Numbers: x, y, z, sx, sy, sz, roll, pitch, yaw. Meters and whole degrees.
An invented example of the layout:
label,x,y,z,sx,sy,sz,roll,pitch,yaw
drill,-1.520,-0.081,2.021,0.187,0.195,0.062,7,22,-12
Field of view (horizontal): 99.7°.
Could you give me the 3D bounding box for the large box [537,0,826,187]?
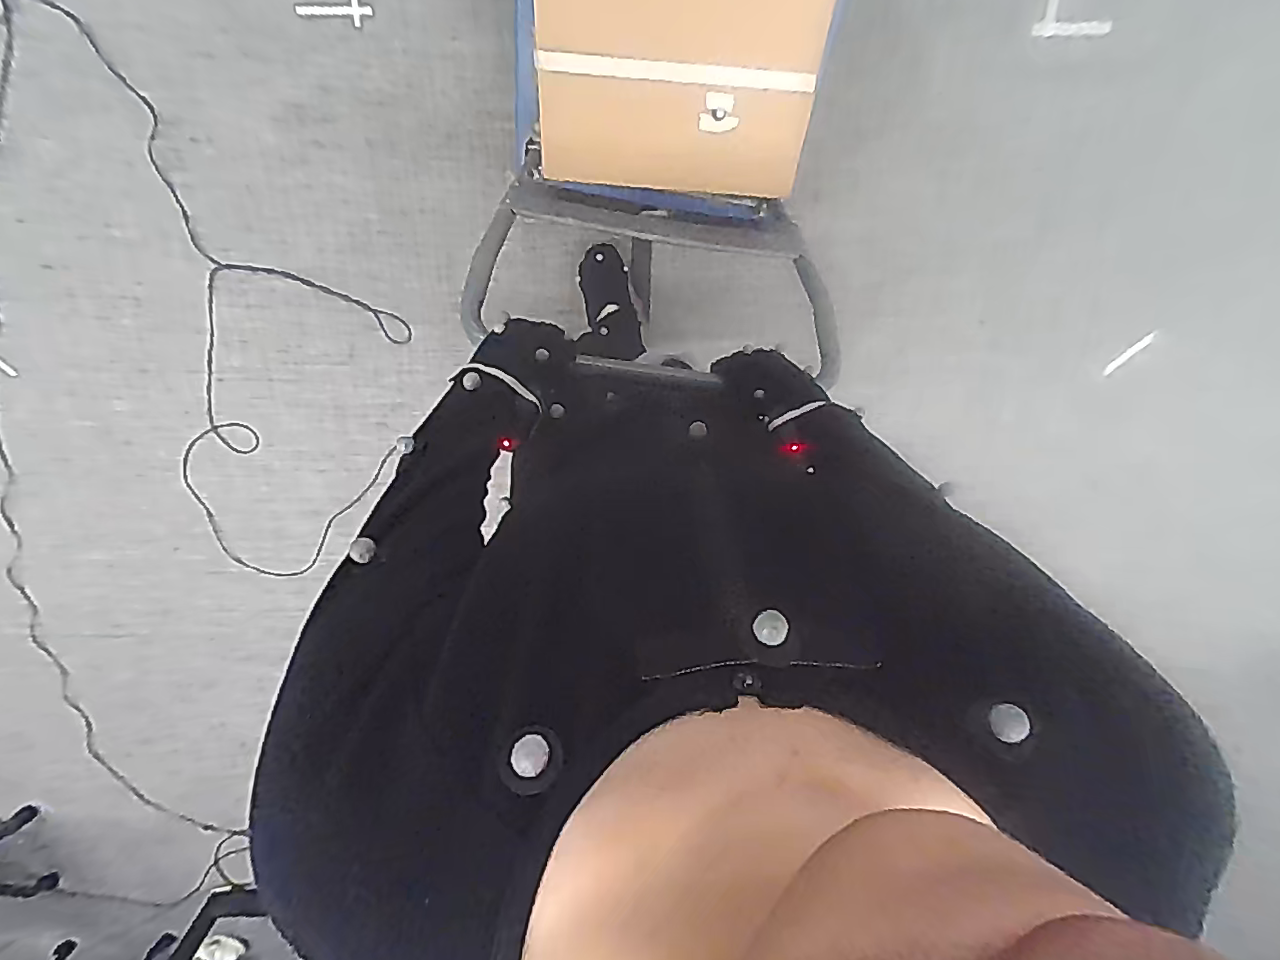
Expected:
label,x,y,z,sx,sy,sz,roll,pitch,yaw
large box,0.050,-0.704,0.897,0.408,0.320,0.320,2,133,-3
